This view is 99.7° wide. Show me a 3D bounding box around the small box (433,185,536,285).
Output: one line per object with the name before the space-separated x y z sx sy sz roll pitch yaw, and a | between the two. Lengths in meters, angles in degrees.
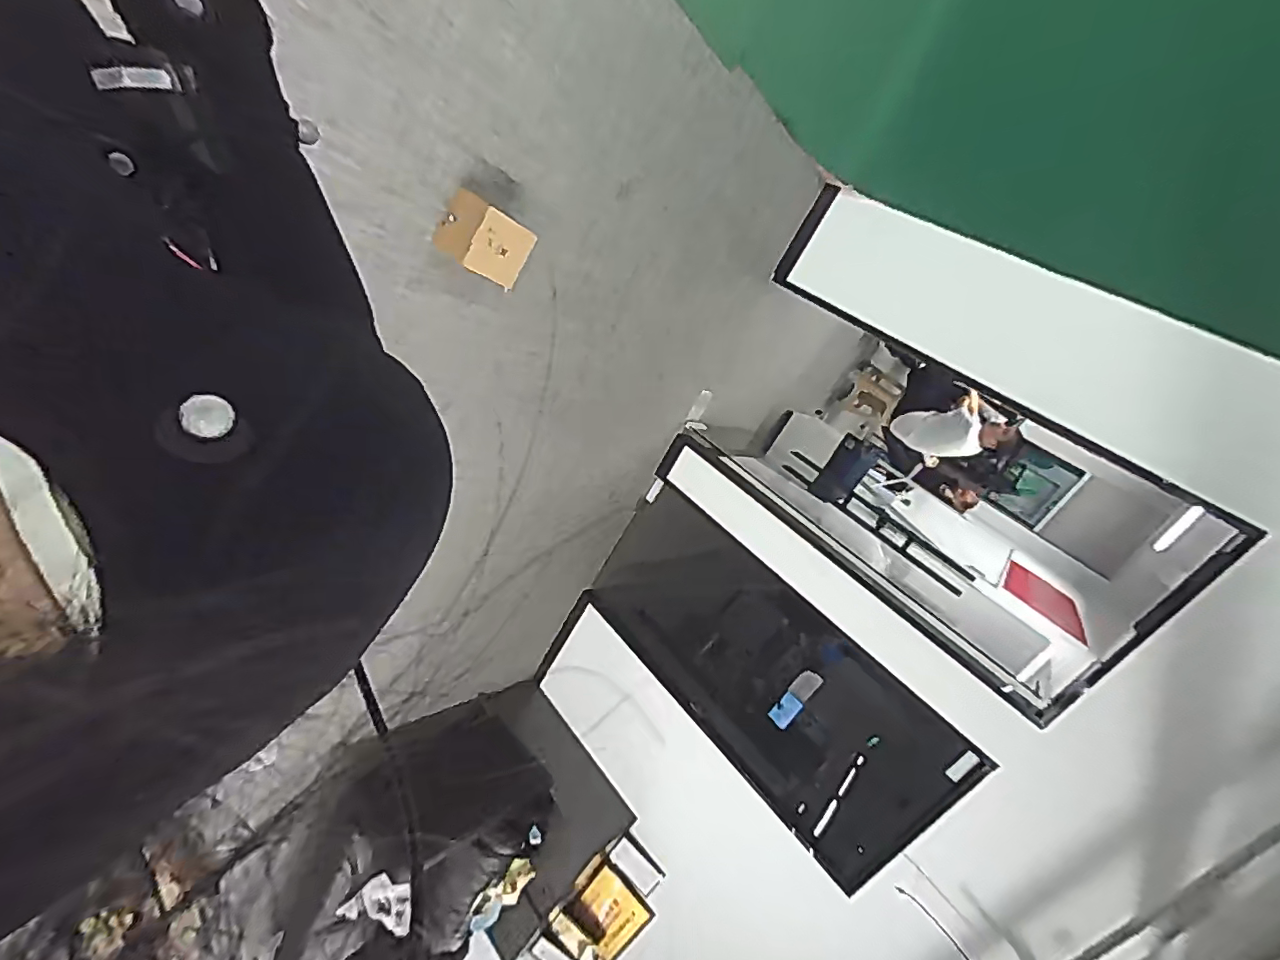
small box | -0.426 -0.672 1.481 0.179 0.176 0.168 8 120 -57
